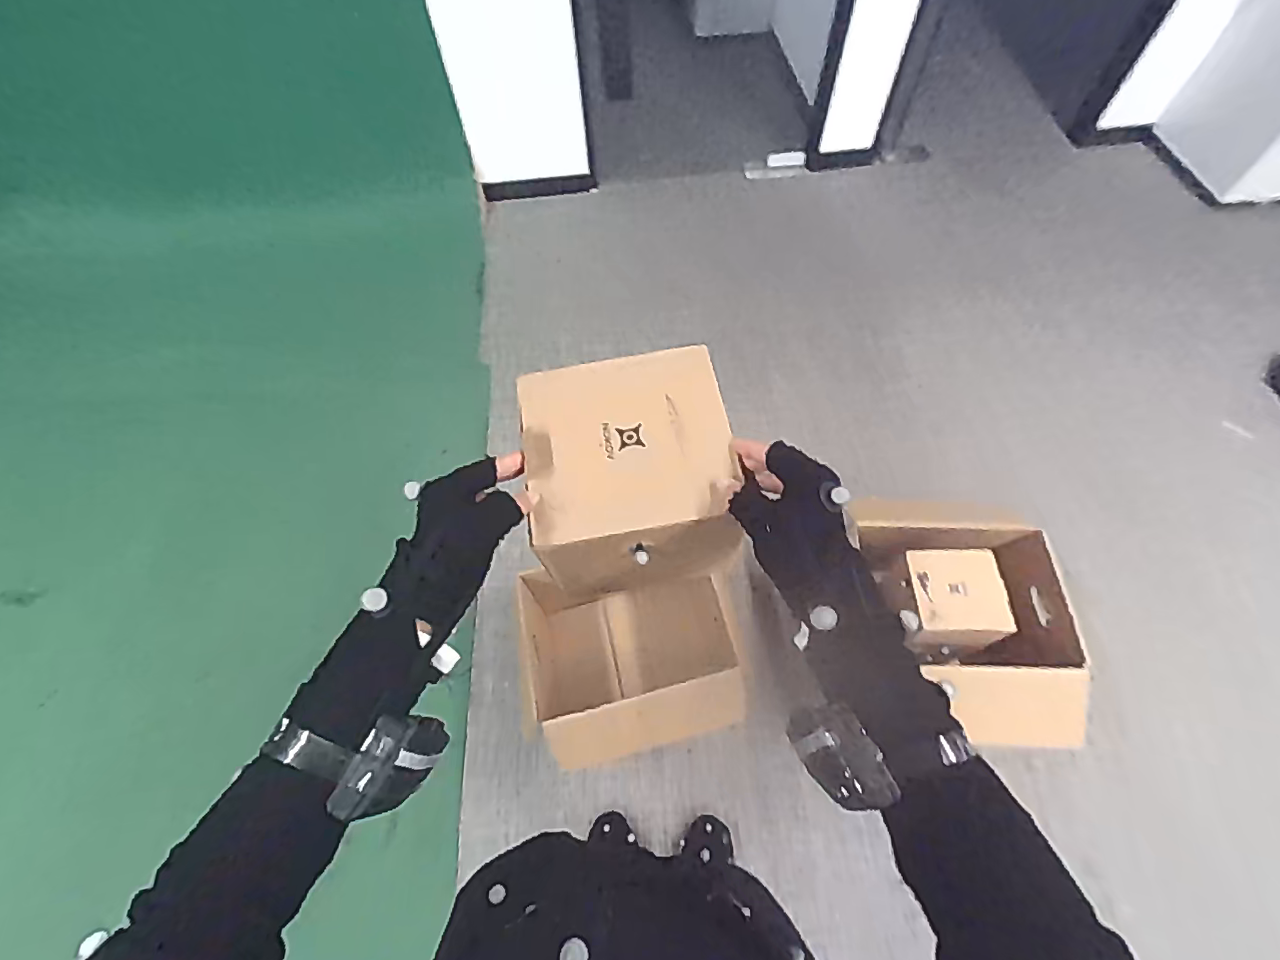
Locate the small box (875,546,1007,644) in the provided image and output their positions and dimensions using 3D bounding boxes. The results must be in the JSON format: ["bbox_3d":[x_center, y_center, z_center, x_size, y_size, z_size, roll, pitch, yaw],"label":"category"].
[{"bbox_3d":[0.633,0.249,1.160,0.179,0.176,0.168,-1,59,3],"label":"small box"}]
